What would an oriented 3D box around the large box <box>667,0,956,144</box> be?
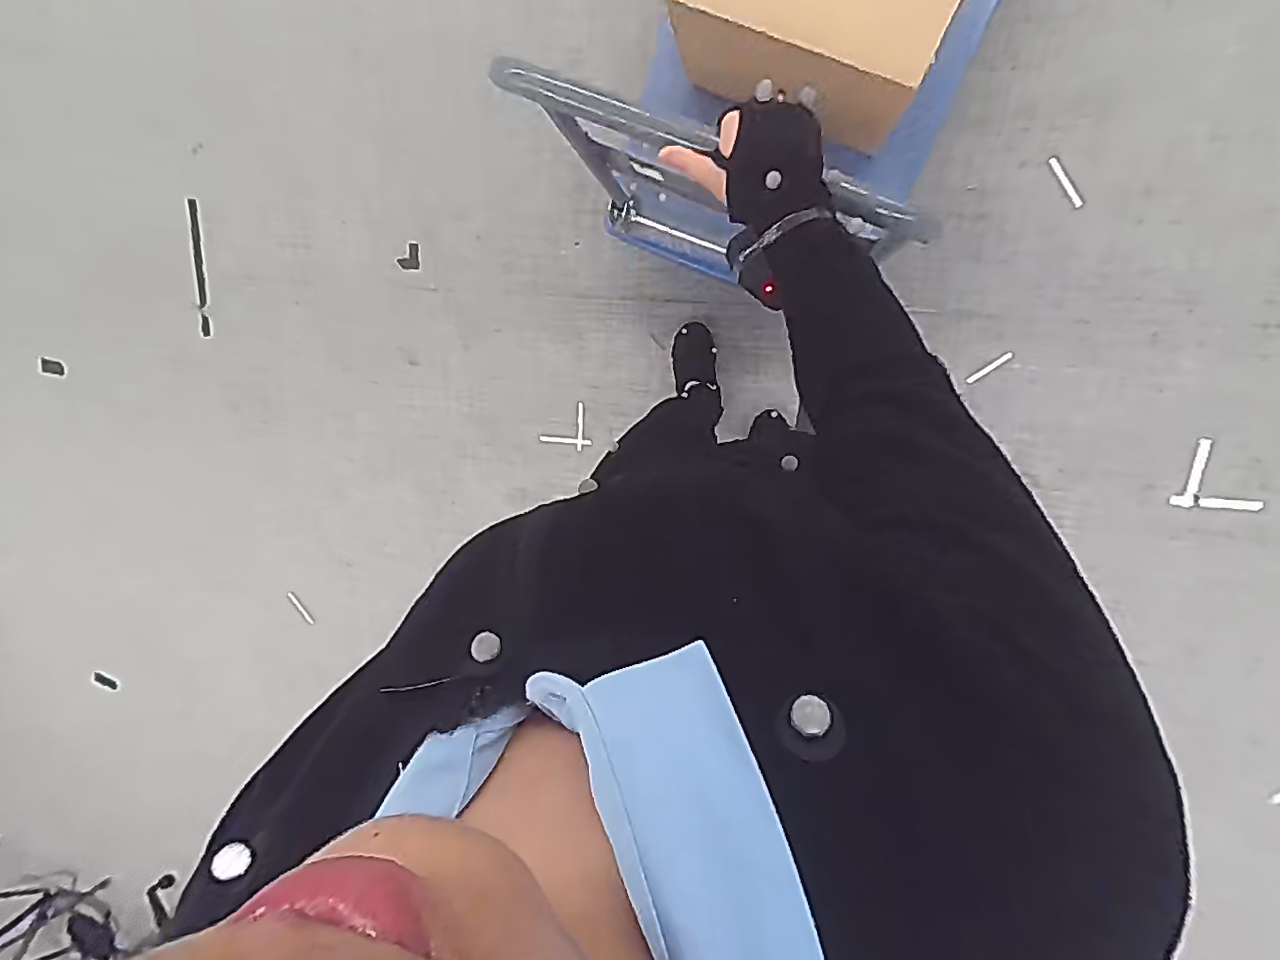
[{"bbox_3d":[0.303,-0.815,0.875,0.408,0.320,0.320,25,108,7],"label":"large box"}]
